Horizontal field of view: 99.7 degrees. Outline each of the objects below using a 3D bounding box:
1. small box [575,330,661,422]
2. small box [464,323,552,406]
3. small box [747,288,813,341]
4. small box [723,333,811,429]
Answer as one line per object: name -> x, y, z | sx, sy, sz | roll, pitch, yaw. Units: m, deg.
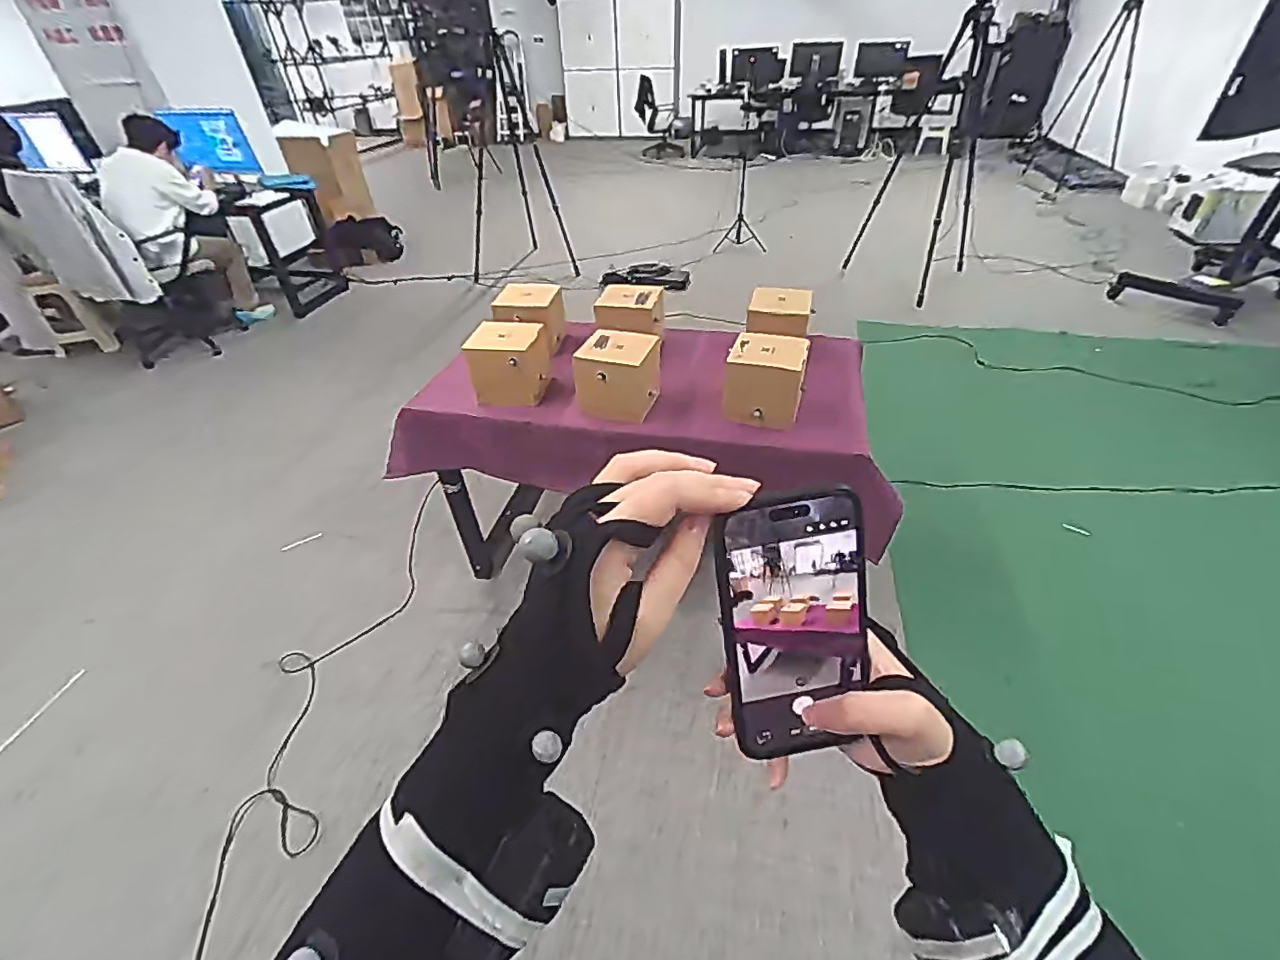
small box -> -0.051, -0.270, 1.404 | 0.179, 0.176, 0.168 | 12, 42, 15
small box -> -0.353, -0.316, 1.478 | 0.179, 0.176, 0.168 | 4, 40, 6
small box -> 0.404, -0.444, 1.583 | 0.168, 0.176, 0.179 | 9, 42, 15
small box -> 0.316, -0.247, 1.355 | 0.179, 0.176, 0.168 | 12, 42, 17
